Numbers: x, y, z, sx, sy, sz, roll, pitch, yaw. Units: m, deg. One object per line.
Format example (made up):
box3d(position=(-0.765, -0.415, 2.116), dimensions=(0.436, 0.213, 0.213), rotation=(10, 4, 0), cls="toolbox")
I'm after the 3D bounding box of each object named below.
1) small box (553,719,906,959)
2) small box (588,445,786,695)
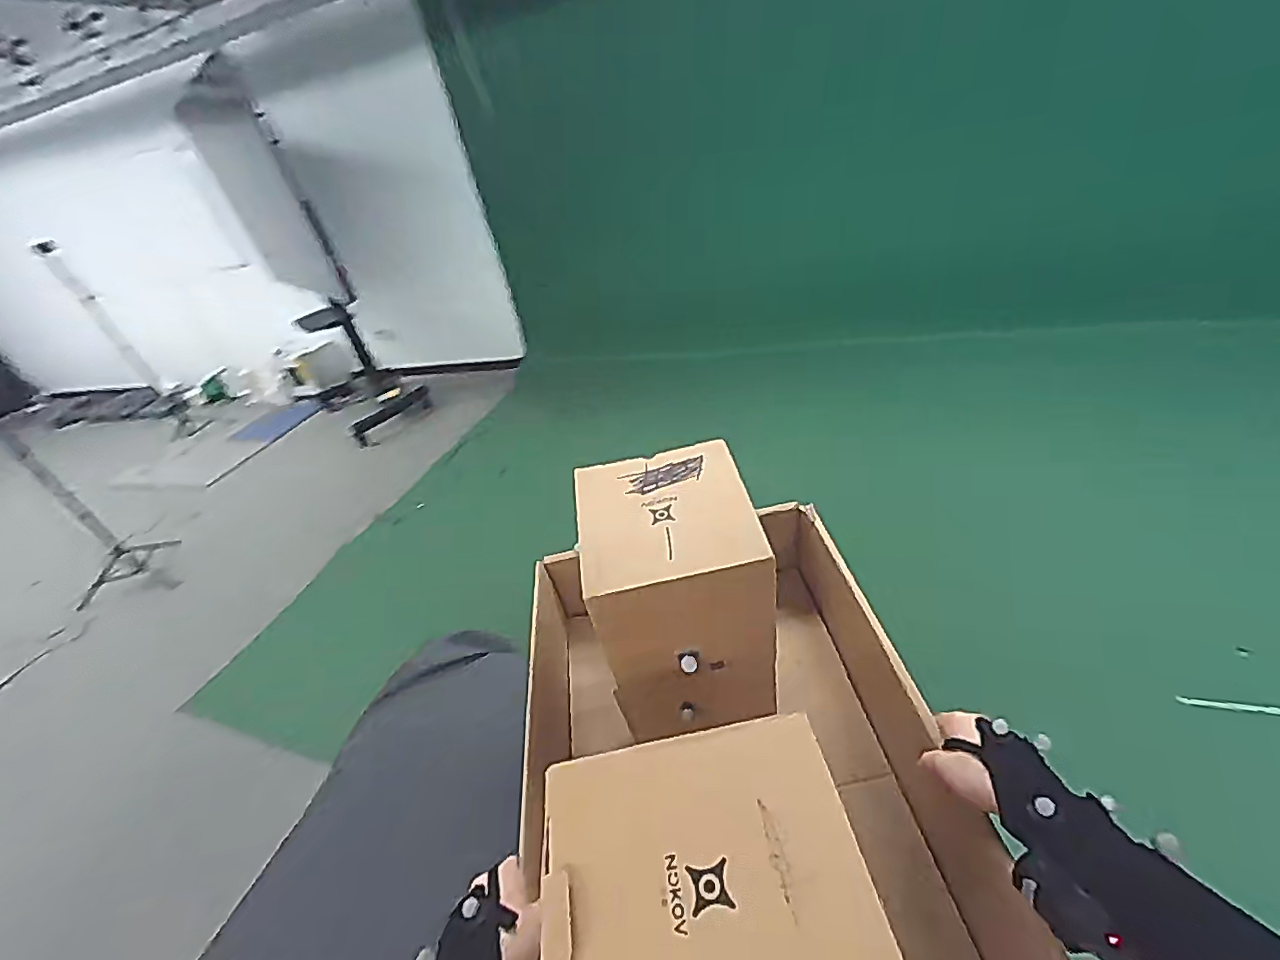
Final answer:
box3d(position=(0.052, 0.284, 0.341), dimensions=(0.179, 0.176, 0.168), rotation=(-12, 40, 0), cls="small box")
box3d(position=(0.045, 0.092, 0.564), dimensions=(0.168, 0.176, 0.179), rotation=(-12, 41, 1), cls="small box")
